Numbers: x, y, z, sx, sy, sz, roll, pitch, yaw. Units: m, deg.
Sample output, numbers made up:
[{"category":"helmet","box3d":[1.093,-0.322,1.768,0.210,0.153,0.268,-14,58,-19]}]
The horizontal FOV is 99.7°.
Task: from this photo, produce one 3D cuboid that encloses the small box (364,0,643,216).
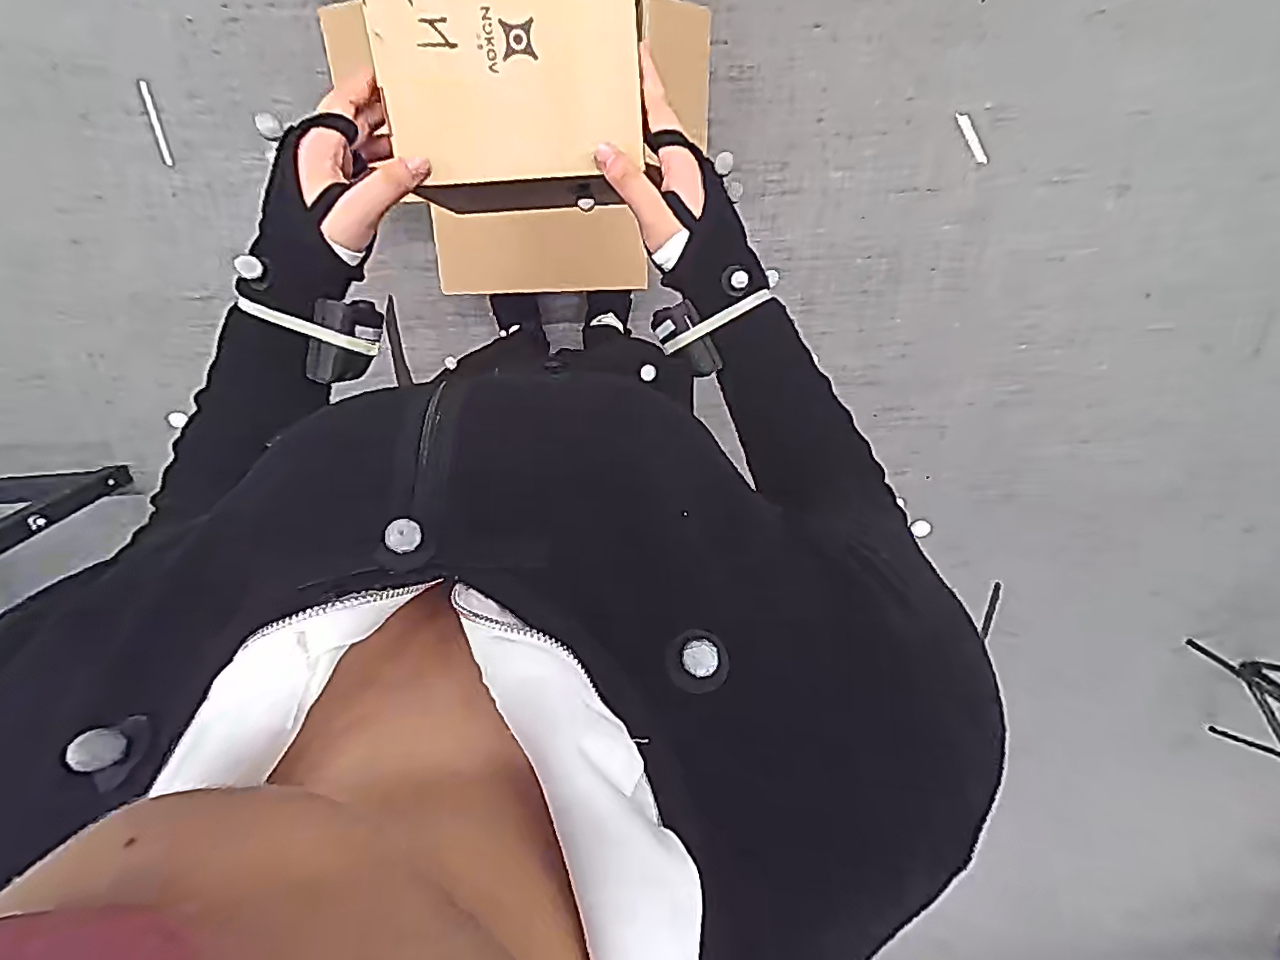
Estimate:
[{"category":"small box","box3d":[-0.095,-0.315,0.434,0.179,0.176,0.168,-4,110,-2]}]
